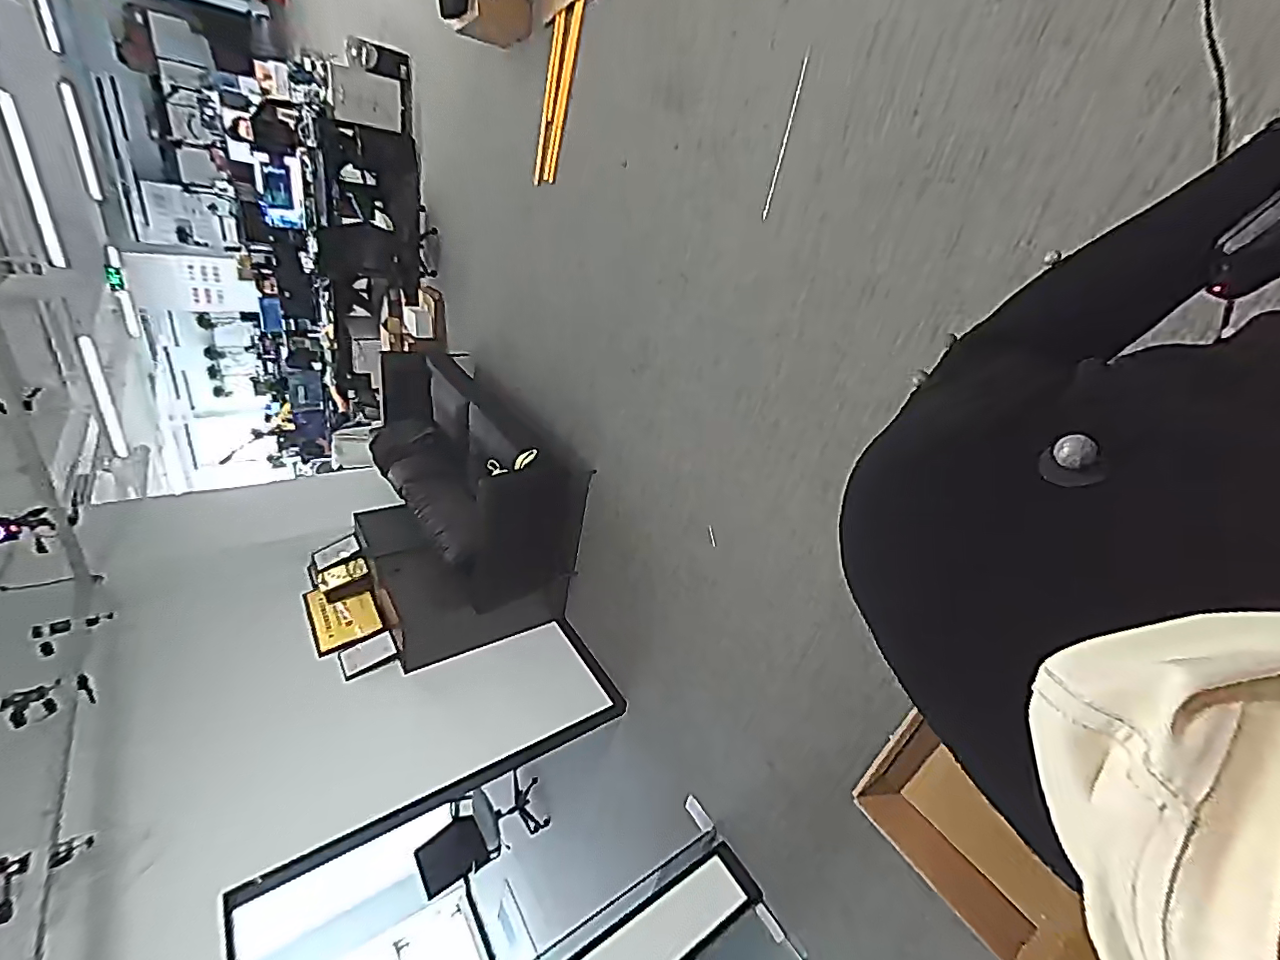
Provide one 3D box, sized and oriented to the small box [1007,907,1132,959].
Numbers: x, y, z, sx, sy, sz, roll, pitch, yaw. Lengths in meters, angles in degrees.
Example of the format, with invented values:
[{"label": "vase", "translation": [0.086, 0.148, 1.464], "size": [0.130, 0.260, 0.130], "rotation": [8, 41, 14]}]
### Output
[{"label": "small box", "translation": [0.757, 0.902, 0.937], "size": [0.168, 0.176, 0.179], "rotation": [43, 132, 38]}]
